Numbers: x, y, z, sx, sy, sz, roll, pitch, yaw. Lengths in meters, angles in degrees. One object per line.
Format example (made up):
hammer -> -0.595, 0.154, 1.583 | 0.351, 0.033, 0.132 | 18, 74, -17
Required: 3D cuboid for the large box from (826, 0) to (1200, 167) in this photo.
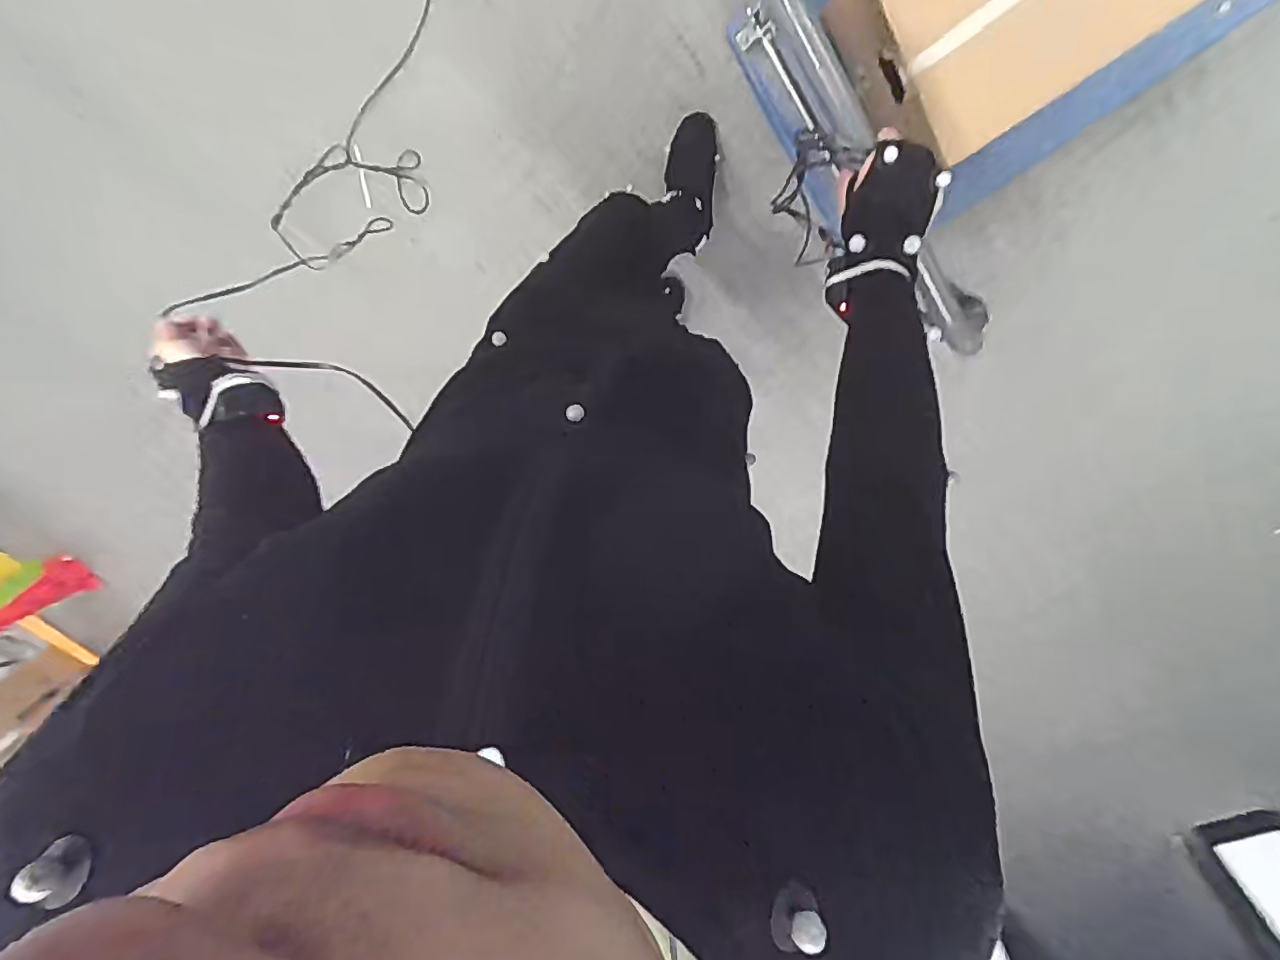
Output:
large box -> 0.566, -0.760, 0.838 | 0.408, 0.320, 0.320 | -30, 113, 21
